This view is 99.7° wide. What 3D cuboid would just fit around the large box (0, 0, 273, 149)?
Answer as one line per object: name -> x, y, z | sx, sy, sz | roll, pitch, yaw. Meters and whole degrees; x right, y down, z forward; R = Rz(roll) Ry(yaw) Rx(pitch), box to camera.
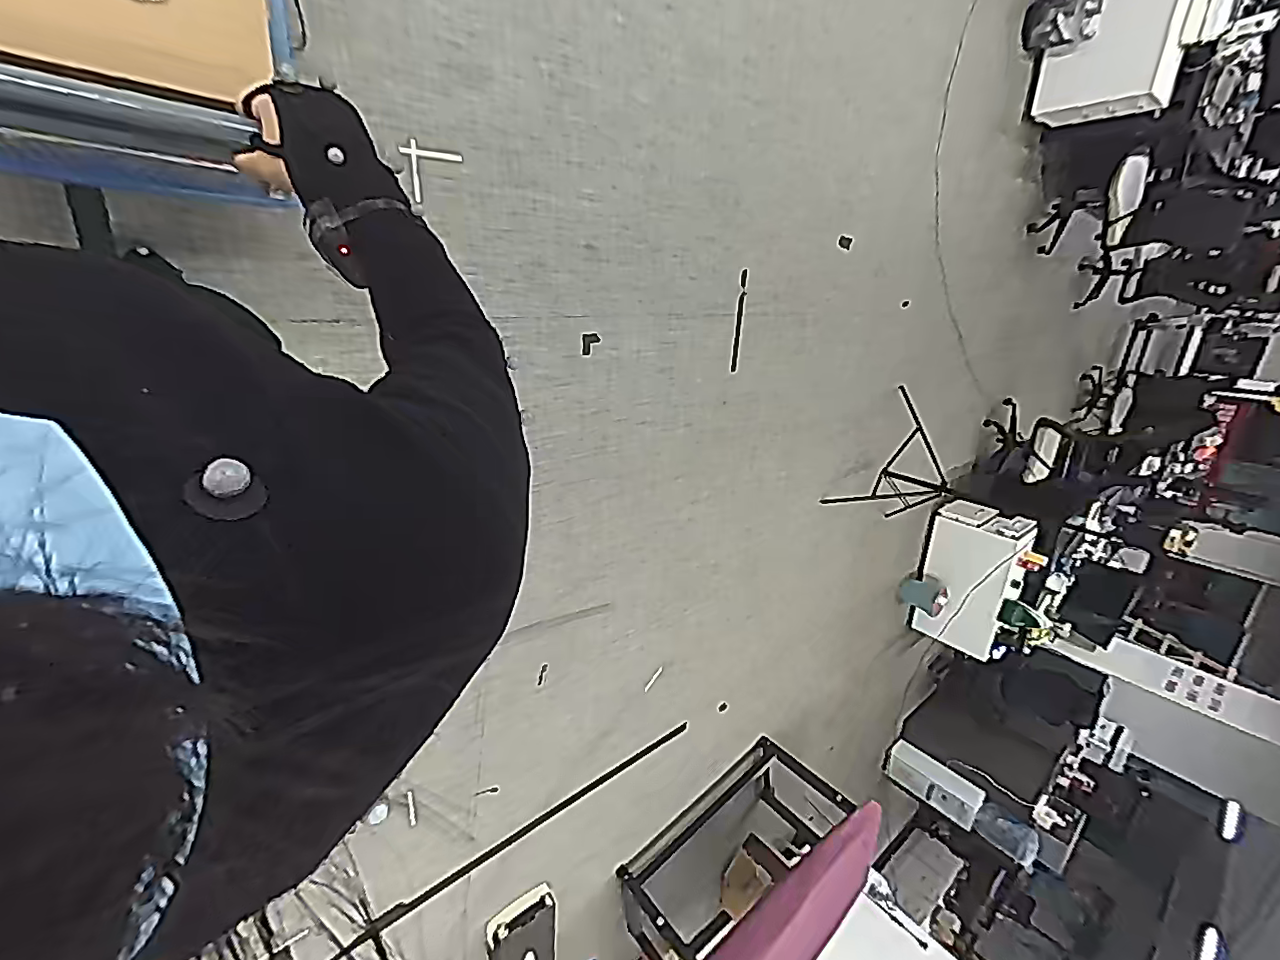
large box -> -0.757, -0.662, 0.695 | 0.408, 0.320, 0.320 | -12, 115, -40
